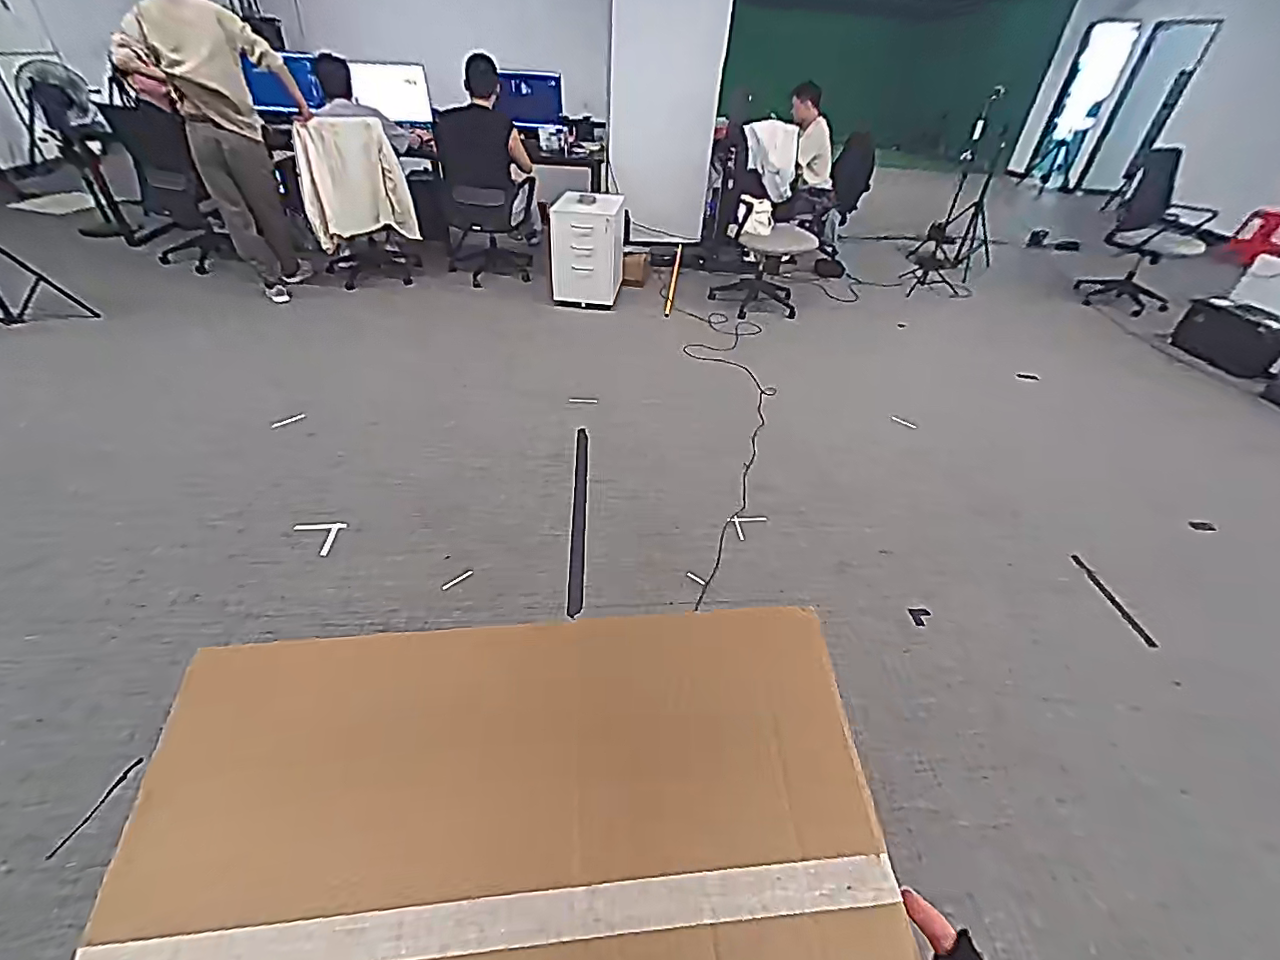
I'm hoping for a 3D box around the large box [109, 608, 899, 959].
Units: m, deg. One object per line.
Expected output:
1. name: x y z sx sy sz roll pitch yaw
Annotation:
1. large box: -0.074 0.316 0.403 0.408 0.320 0.320 -3 55 -5
